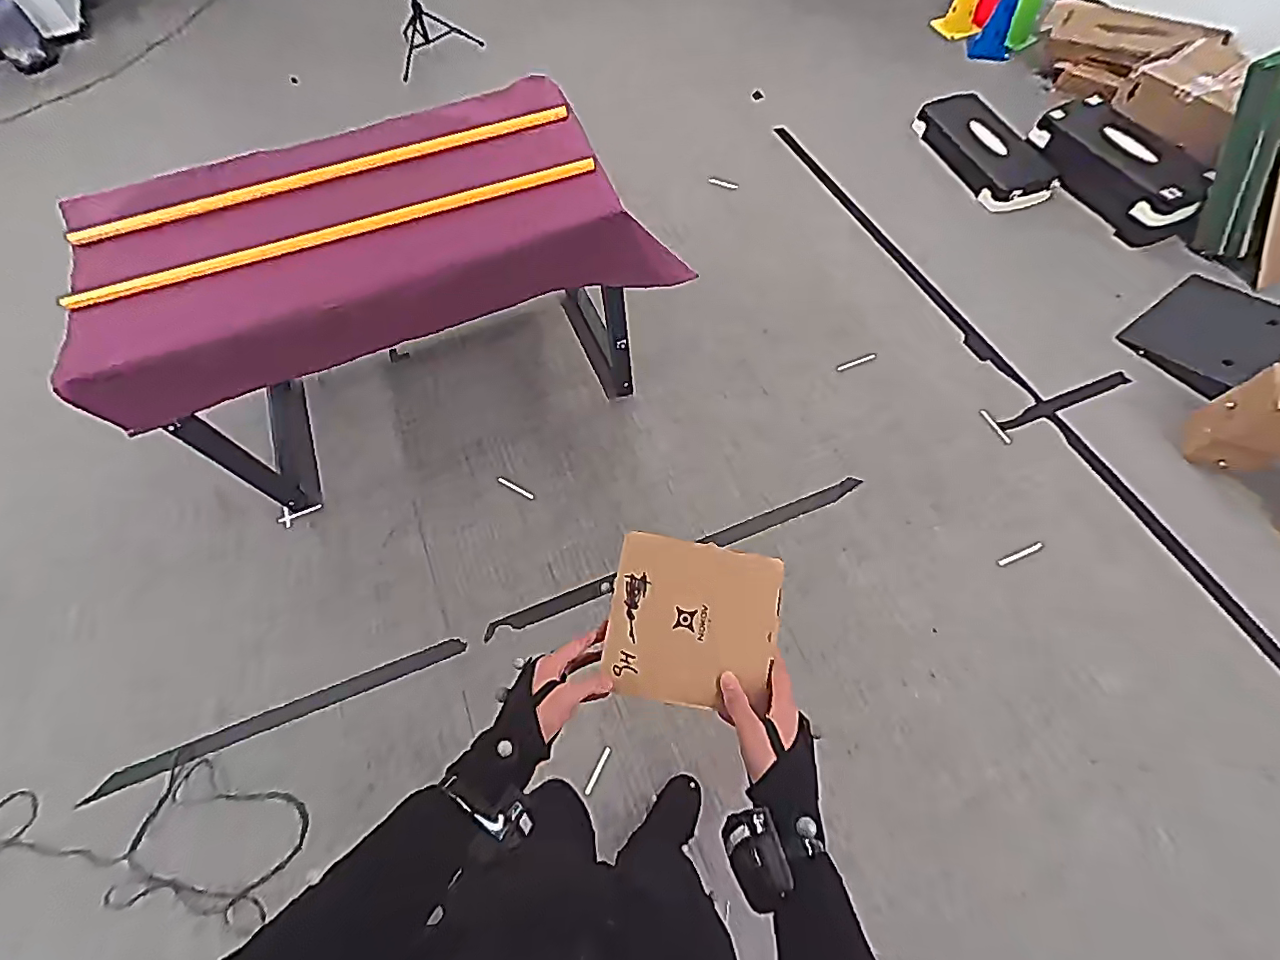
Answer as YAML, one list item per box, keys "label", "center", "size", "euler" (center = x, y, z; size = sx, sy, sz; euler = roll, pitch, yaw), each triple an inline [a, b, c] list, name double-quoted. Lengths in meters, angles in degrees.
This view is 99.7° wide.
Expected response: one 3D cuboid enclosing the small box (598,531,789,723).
- label: "small box"
  center: [0.055, 0.165, 0.632]
  size: [0.179, 0.176, 0.168]
  euler: [12, 76, 0]
